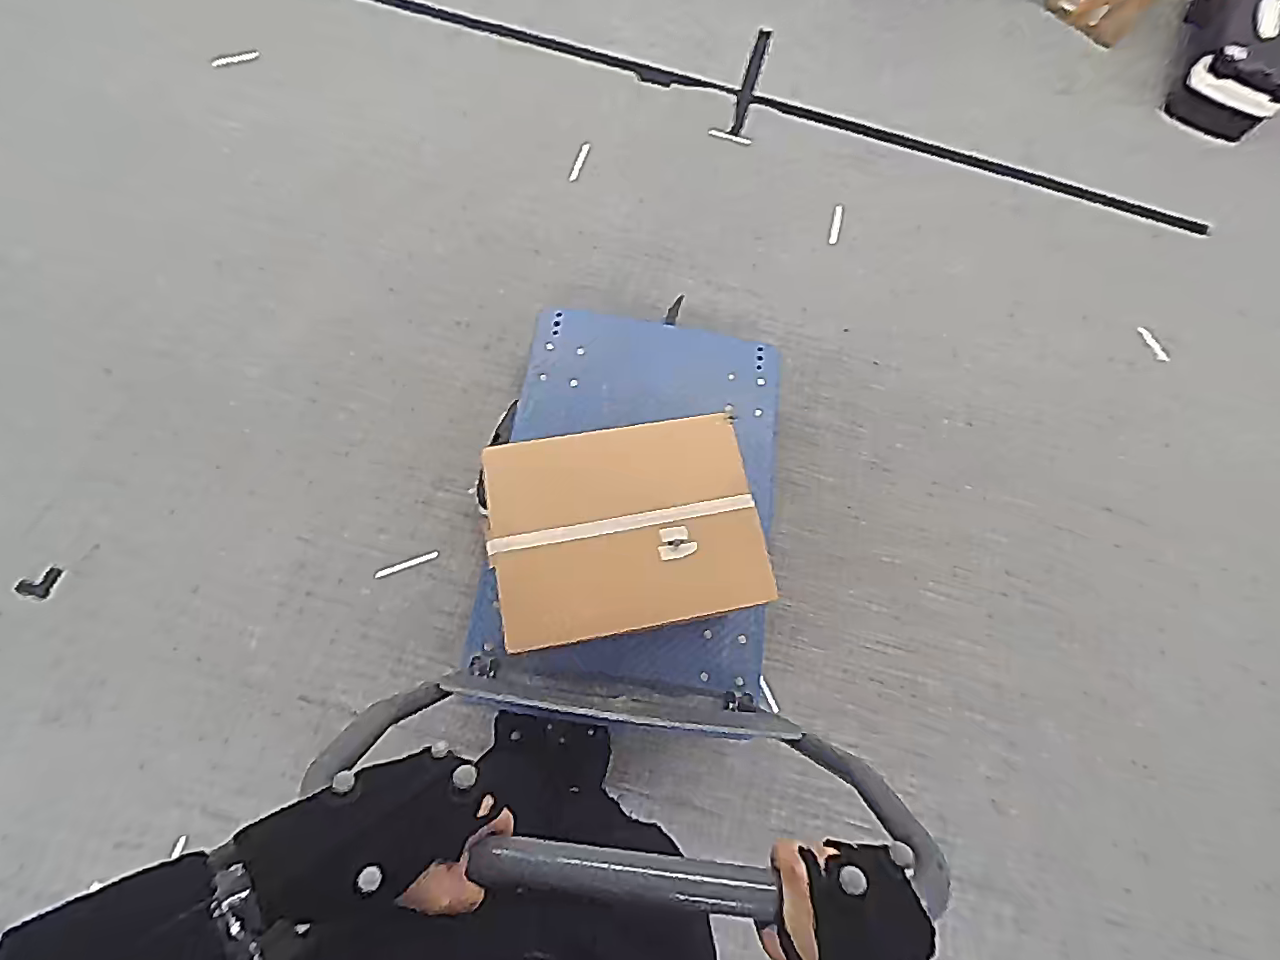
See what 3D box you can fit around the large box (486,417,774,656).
[{"bbox_3d":[-0.034,0.116,0.968,0.408,0.320,0.320,-9,74,-9],"label":"large box"}]
